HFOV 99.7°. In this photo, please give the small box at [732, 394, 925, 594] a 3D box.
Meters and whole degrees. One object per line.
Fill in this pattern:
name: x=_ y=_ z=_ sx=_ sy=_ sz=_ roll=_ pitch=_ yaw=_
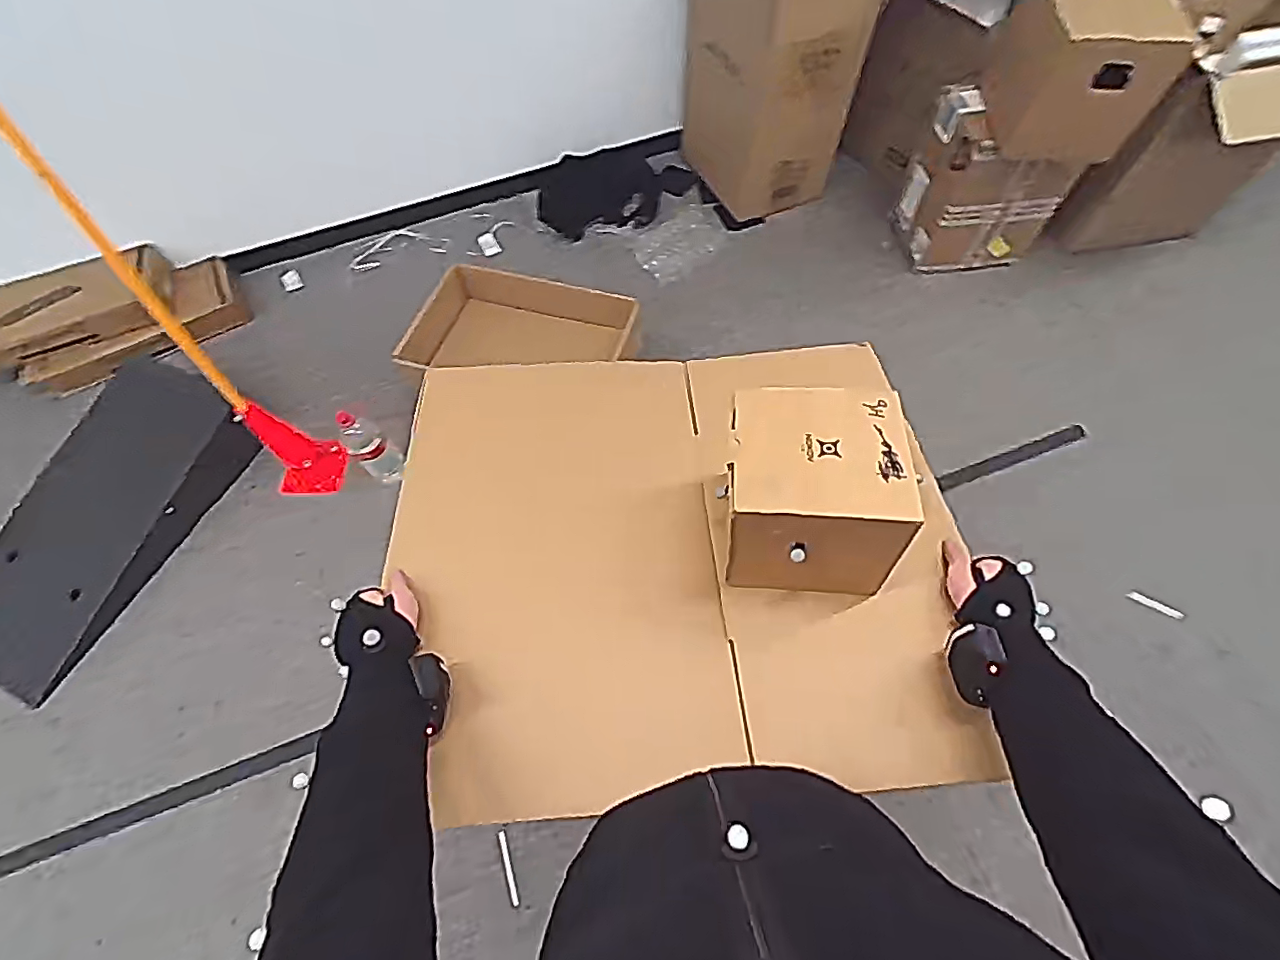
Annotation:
small box: x=0.197 y=0.020 z=0.620 sx=0.179 sy=0.176 sz=0.168 roll=3 pitch=56 yaw=9
